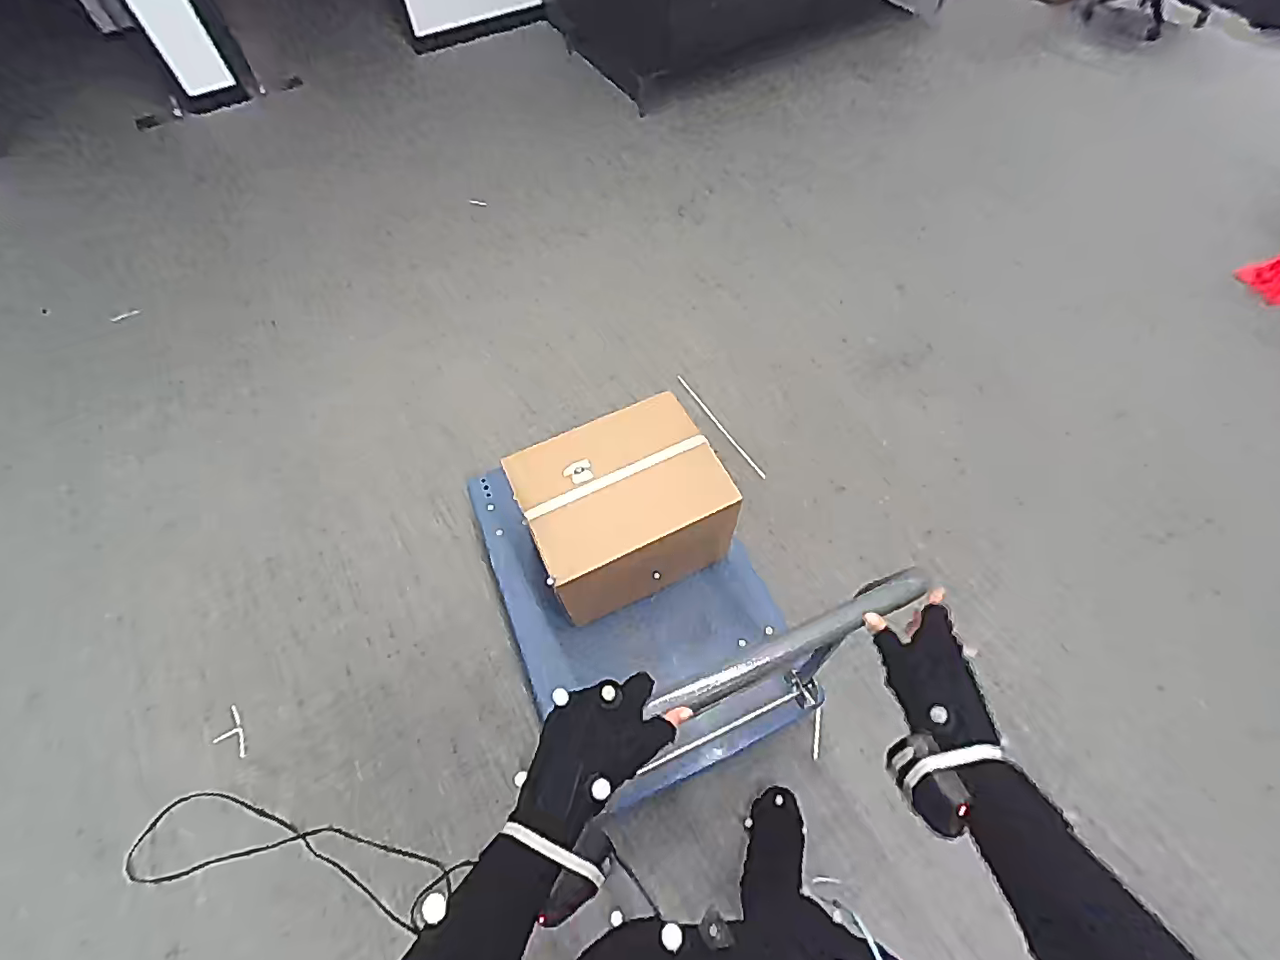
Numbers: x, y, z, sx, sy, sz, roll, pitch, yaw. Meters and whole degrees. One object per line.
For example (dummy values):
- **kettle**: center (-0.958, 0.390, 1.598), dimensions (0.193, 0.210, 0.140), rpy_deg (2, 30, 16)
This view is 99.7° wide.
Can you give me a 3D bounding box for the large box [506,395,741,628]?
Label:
- **large box**: center (-0.033, 0.079, 1.234), dimensions (0.408, 0.320, 0.320), rpy_deg (-26, 62, -11)
